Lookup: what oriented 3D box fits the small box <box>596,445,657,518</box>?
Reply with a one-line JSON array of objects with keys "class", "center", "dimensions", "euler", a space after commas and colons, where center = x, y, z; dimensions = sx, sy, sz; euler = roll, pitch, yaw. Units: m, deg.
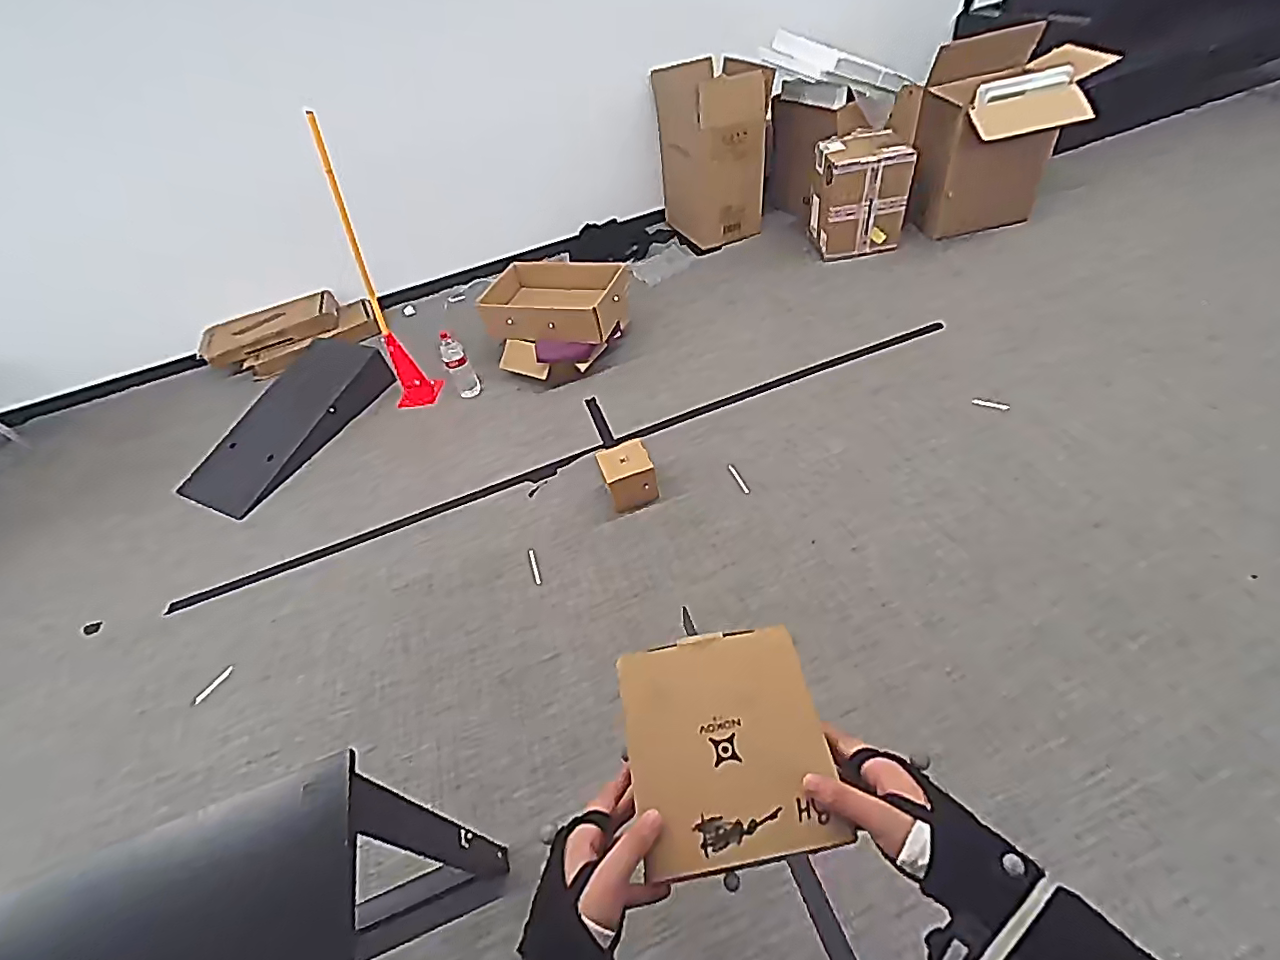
[{"class": "small box", "center": [-0.043, 0.007, 1.989], "dimensions": [0.179, 0.176, 0.168], "euler": [-21, 46, -7]}]

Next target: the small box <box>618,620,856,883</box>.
[{"class": "small box", "center": [0.079, 0.263, 0.520], "dimensions": [0.168, 0.176, 0.179], "euler": [-12, 51, 0]}]
